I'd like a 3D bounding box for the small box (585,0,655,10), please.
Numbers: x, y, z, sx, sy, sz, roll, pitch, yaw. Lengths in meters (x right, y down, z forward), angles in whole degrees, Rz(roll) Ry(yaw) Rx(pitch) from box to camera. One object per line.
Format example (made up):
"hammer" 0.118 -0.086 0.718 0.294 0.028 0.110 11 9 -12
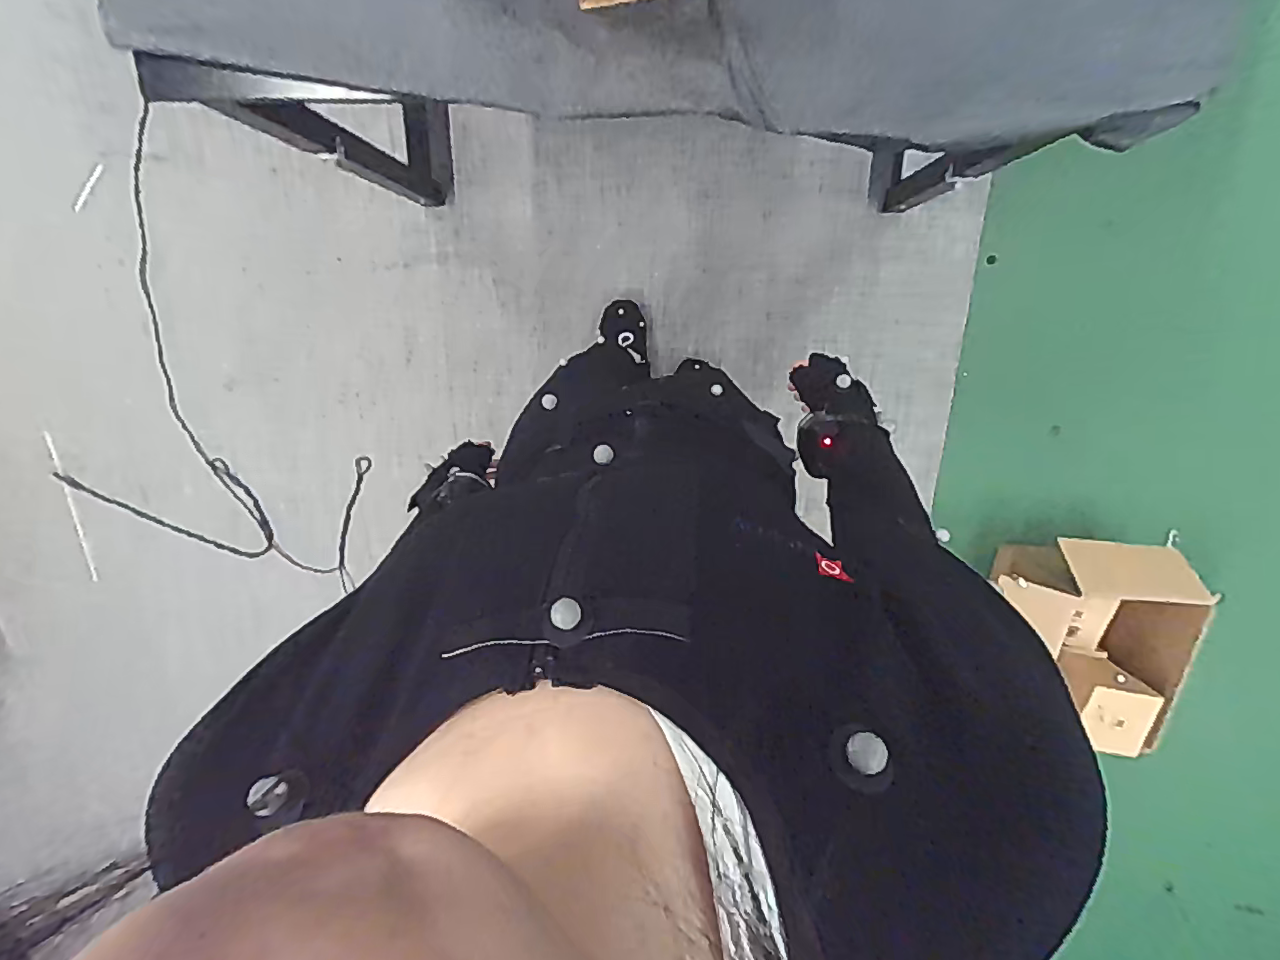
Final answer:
"small box" 0.000 -0.588 0.495 0.168 0.176 0.179 -6 106 4
